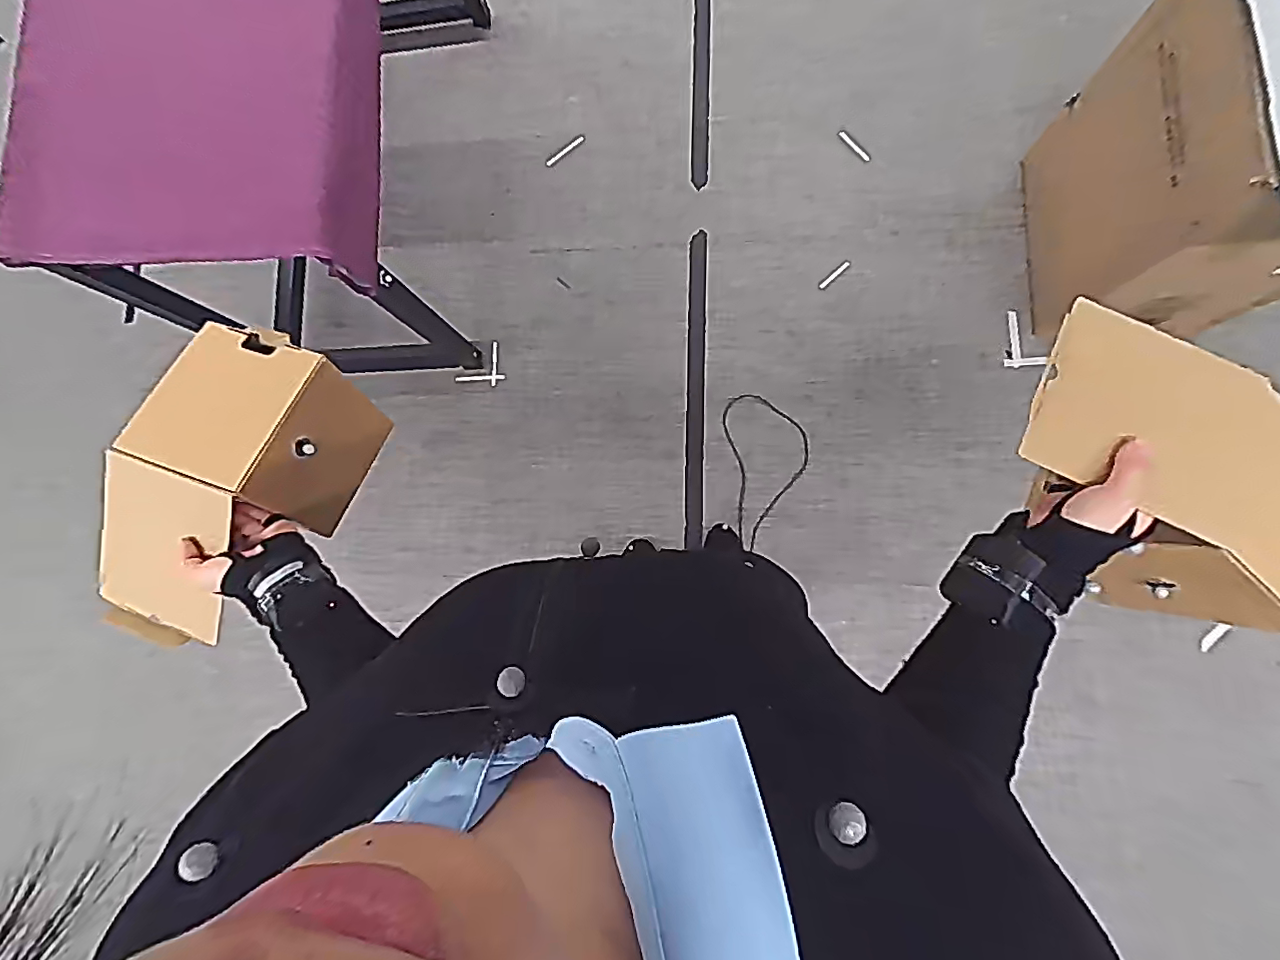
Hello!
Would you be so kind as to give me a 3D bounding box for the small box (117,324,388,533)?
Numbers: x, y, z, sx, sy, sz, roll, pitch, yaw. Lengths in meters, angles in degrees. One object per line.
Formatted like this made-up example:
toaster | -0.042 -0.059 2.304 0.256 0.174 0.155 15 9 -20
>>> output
small box | -0.447 -0.054 0.661 0.168 0.176 0.179 17 69 10
